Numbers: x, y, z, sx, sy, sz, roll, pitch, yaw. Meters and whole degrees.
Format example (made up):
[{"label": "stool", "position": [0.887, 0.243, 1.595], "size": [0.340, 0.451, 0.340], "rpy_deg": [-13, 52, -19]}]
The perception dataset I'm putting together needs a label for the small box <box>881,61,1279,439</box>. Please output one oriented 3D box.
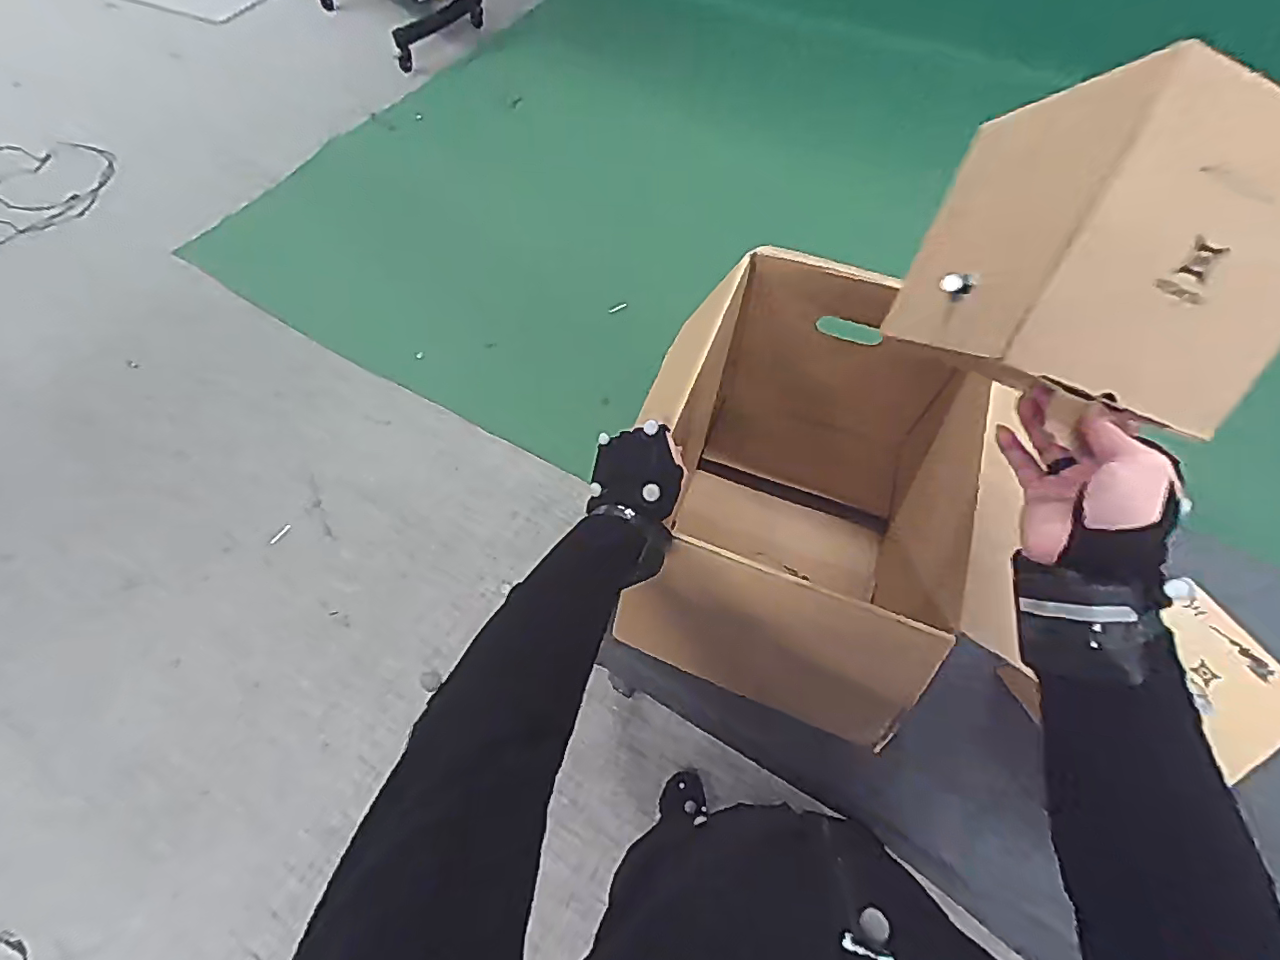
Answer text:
[{"label": "small box", "position": [0.314, -0.153, 0.405], "size": [0.168, 0.179, 0.176], "rpy_deg": [16, 17, -9]}]
